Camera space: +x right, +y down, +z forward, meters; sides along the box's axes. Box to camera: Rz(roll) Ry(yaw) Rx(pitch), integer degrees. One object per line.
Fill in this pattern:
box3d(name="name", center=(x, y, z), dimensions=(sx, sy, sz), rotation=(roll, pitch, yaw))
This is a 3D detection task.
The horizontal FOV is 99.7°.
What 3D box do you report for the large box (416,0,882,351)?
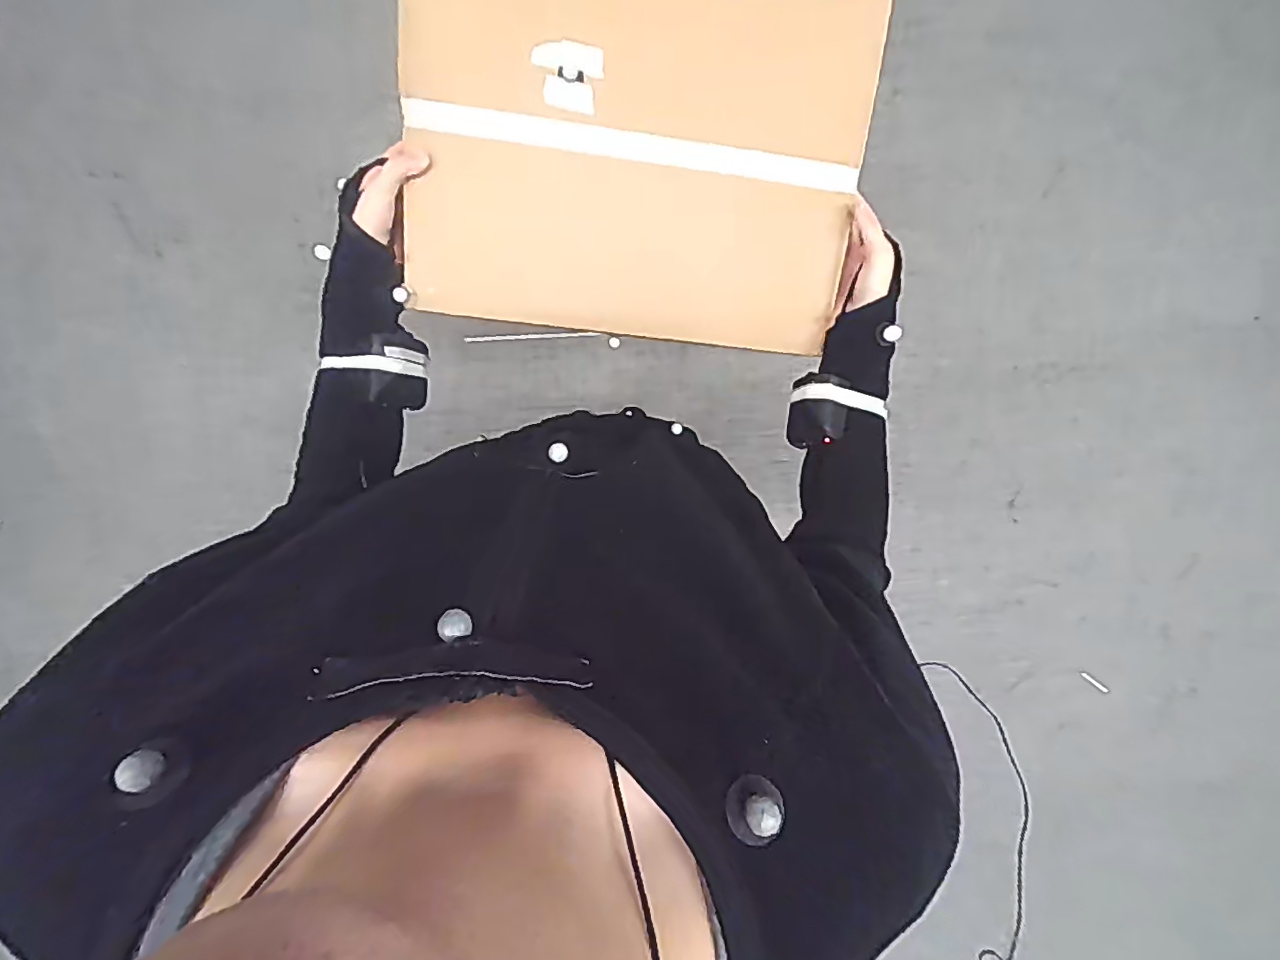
box3d(name="large box", center=(-0.008, -0.334, 0.633), dimensions=(0.408, 0.320, 0.320), rotation=(5, 105, -6))
